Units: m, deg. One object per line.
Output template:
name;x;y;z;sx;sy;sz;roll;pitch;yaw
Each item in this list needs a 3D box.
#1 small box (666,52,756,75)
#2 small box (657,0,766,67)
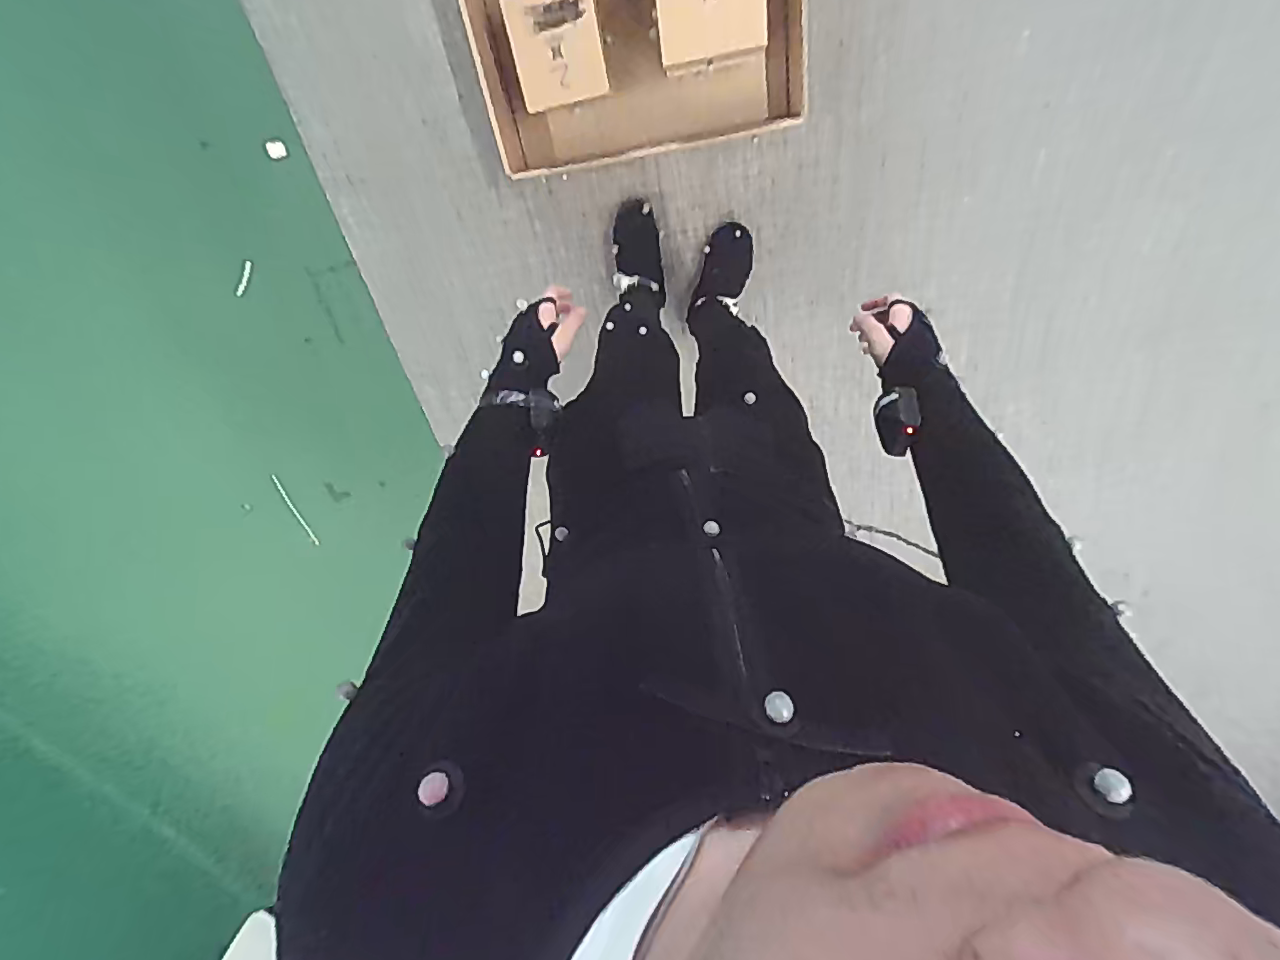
small box;0.126;-0.871;1.002;0.168;0.176;0.179;-5;123;9
small box;0.113;-0.781;0.864;0.168;0.176;0.179;-4;123;9
